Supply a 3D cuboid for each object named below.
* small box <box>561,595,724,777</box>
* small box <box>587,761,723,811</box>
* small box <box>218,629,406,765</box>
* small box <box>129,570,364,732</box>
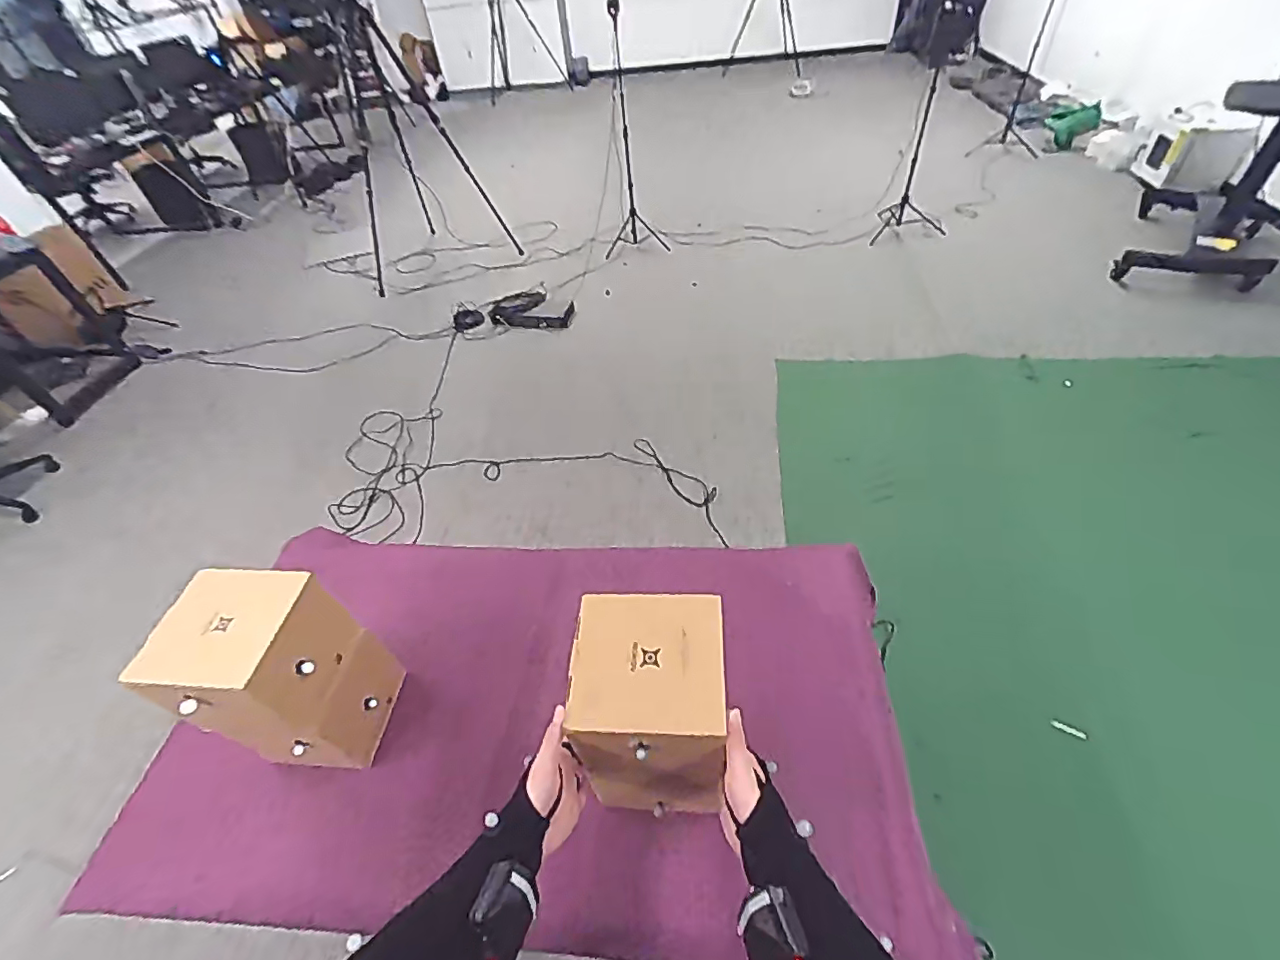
[{"bbox_3d":[0.015,0.260,0.680,0.179,0.176,0.168,-1,48,7],"label":"small box"},{"bbox_3d":[0.029,0.374,0.798,0.179,0.176,0.168,-1,46,6],"label":"small box"},{"bbox_3d":[-0.518,0.354,0.888,0.179,0.176,0.168,0,46,8],"label":"small box"},{"bbox_3d":[-0.533,0.245,0.769,0.179,0.176,0.168,0,47,8],"label":"small box"}]
